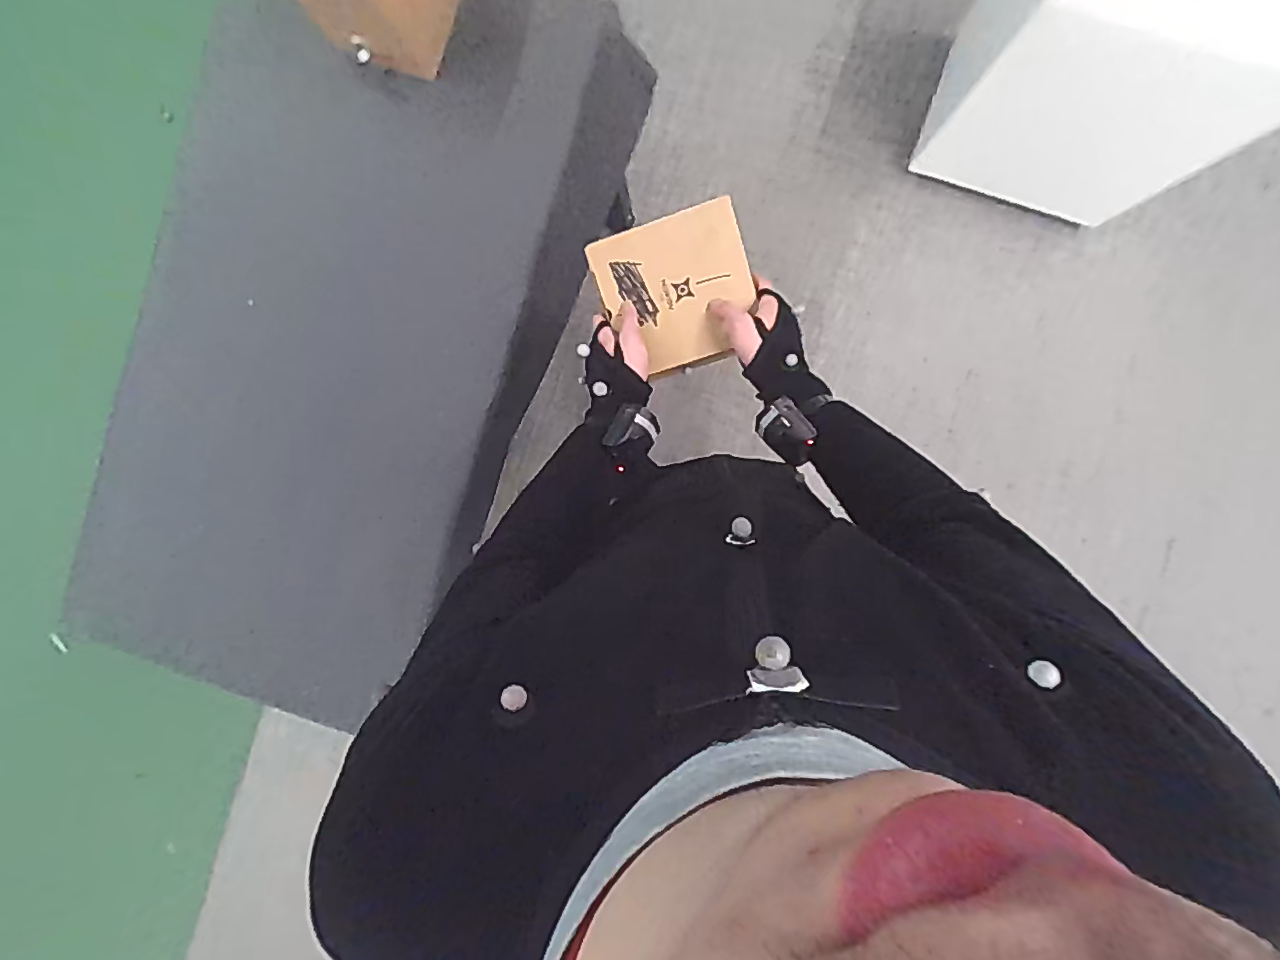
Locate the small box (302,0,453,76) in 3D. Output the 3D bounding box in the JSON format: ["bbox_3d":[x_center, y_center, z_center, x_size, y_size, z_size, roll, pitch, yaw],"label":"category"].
[{"bbox_3d":[-0.374,-0.717,0.744,0.168,0.176,0.179,21,95,4],"label":"small box"}]

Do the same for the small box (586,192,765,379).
[{"bbox_3d":[0.050,-0.231,0.695,0.179,0.176,0.168,-15,97,8],"label":"small box"}]
